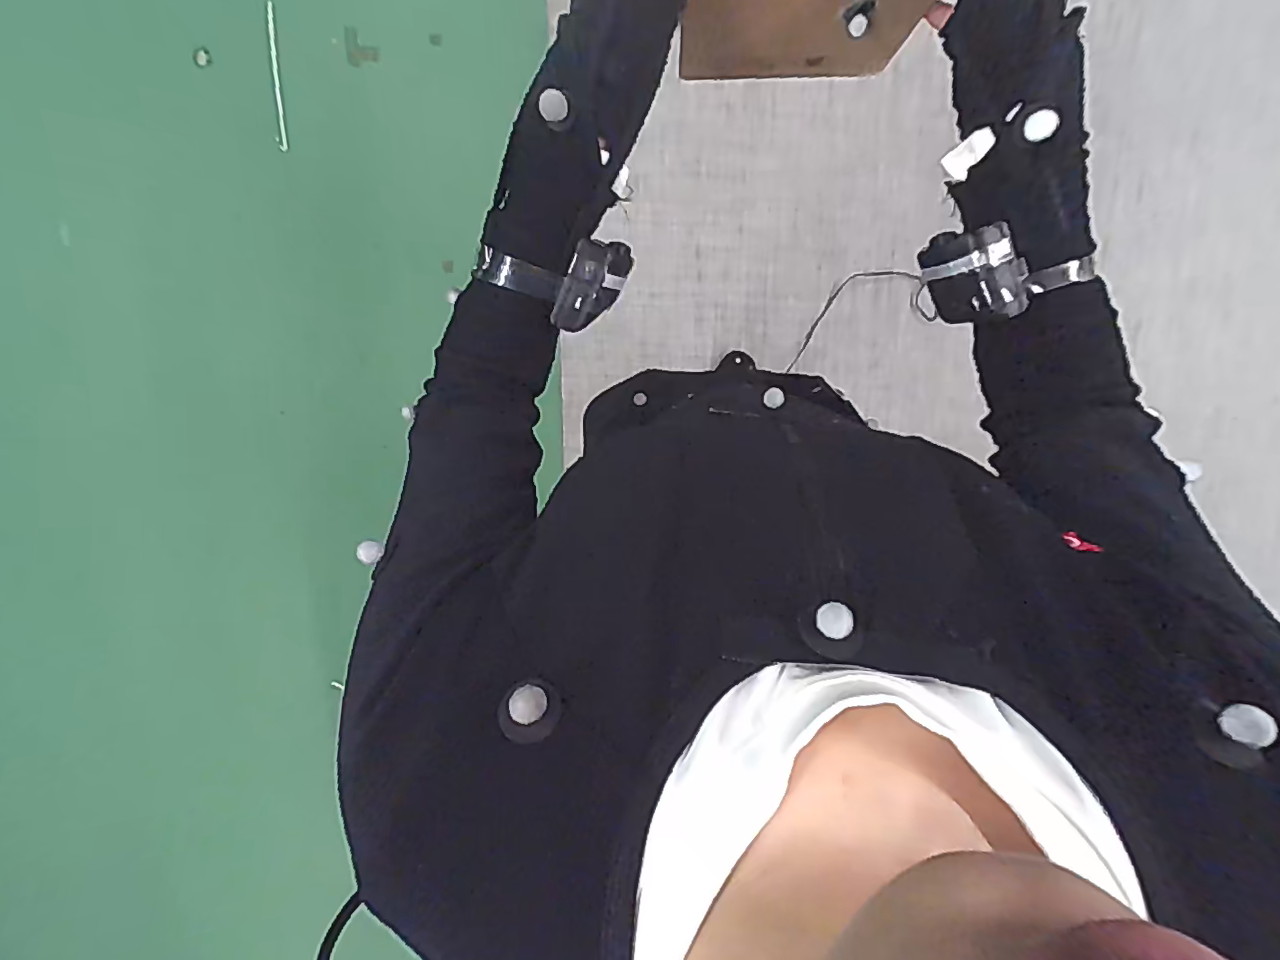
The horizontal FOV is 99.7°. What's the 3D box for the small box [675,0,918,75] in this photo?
[{"bbox_3d":[0.108,-0.397,0.350,0.168,0.176,0.179,0,101,2],"label":"small box"}]
